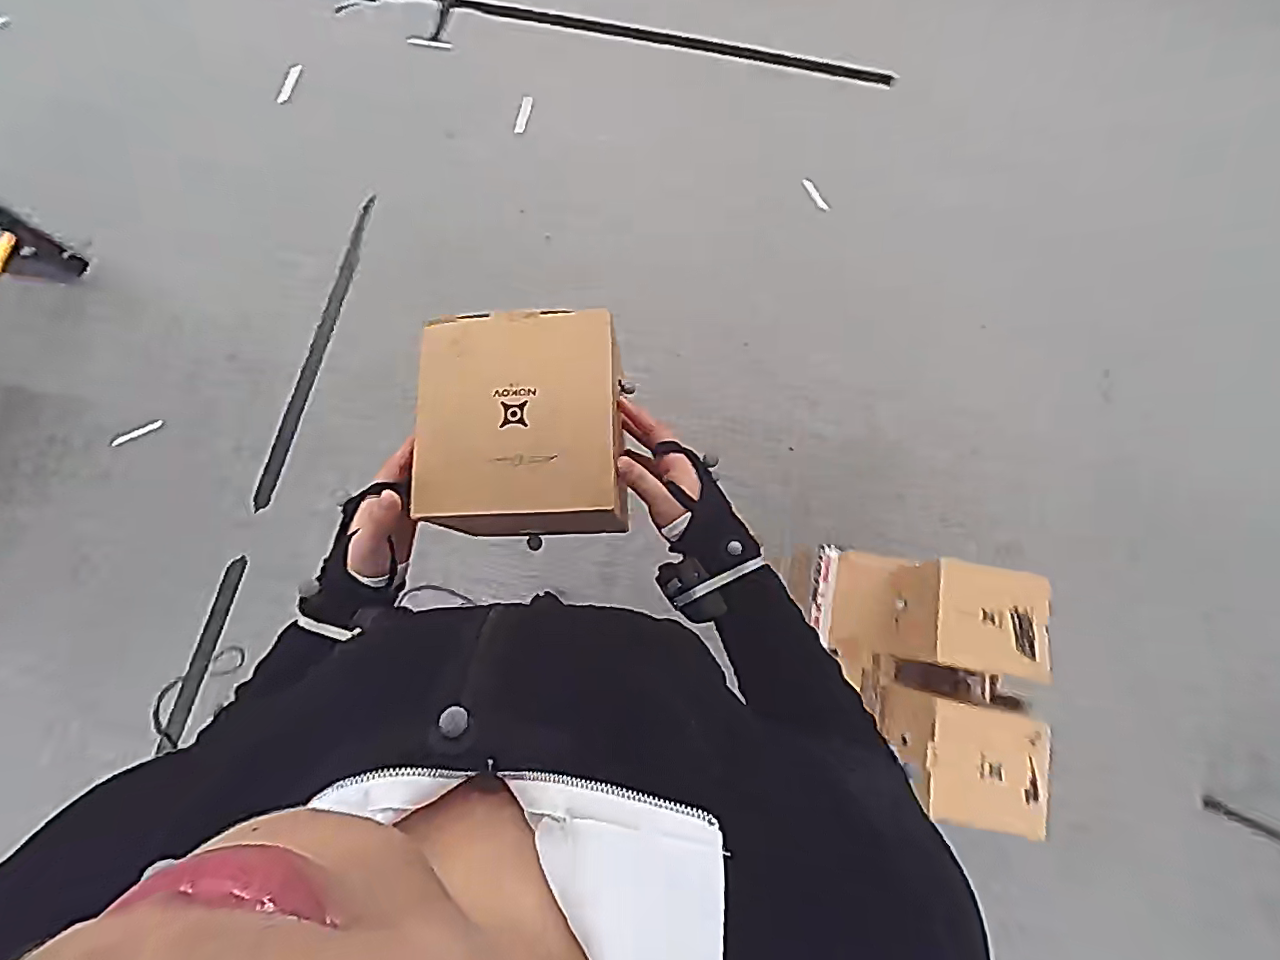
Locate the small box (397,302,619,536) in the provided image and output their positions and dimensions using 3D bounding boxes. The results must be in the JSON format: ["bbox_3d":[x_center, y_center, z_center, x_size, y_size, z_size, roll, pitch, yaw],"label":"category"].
[{"bbox_3d":[-0.109,-0.045,0.515,0.168,0.176,0.179,-3,79,2],"label":"small box"}]
